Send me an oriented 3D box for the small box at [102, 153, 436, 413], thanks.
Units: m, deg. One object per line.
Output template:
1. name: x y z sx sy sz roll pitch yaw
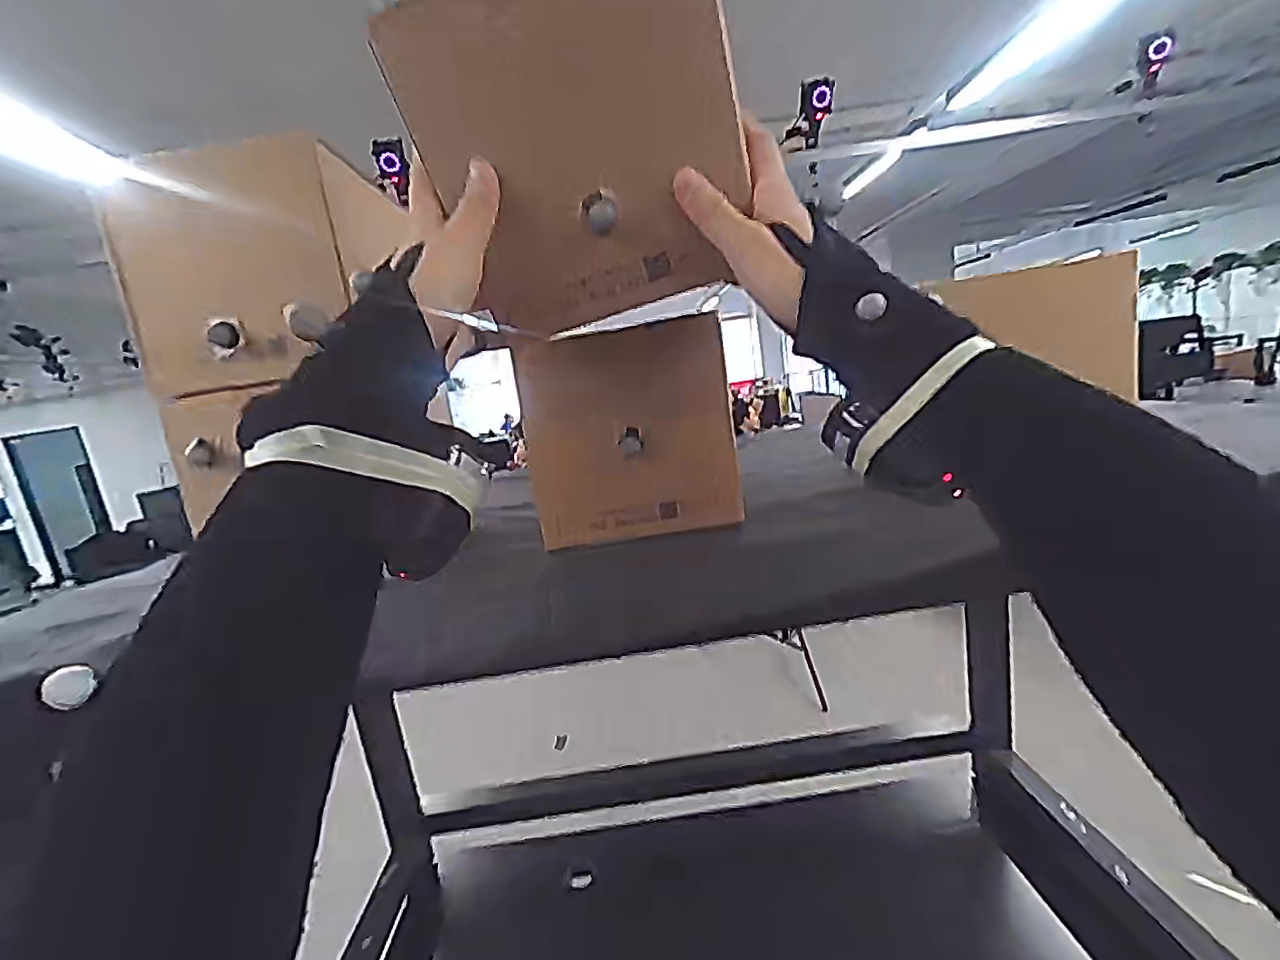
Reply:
1. small box: -0.297 -0.154 0.480 0.168 0.176 0.179 -10 10 -1

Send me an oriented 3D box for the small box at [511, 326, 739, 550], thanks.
1. small box: -0.009 -0.038 0.509 0.168 0.176 0.179 -8 9 0

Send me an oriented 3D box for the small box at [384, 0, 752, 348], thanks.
1. small box: -0.032 -0.208 0.372 0.168 0.176 0.179 -16 30 6

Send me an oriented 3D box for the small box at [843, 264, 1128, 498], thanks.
1. small box: 0.301 -0.085 0.506 0.168 0.176 0.179 -8 10 5
